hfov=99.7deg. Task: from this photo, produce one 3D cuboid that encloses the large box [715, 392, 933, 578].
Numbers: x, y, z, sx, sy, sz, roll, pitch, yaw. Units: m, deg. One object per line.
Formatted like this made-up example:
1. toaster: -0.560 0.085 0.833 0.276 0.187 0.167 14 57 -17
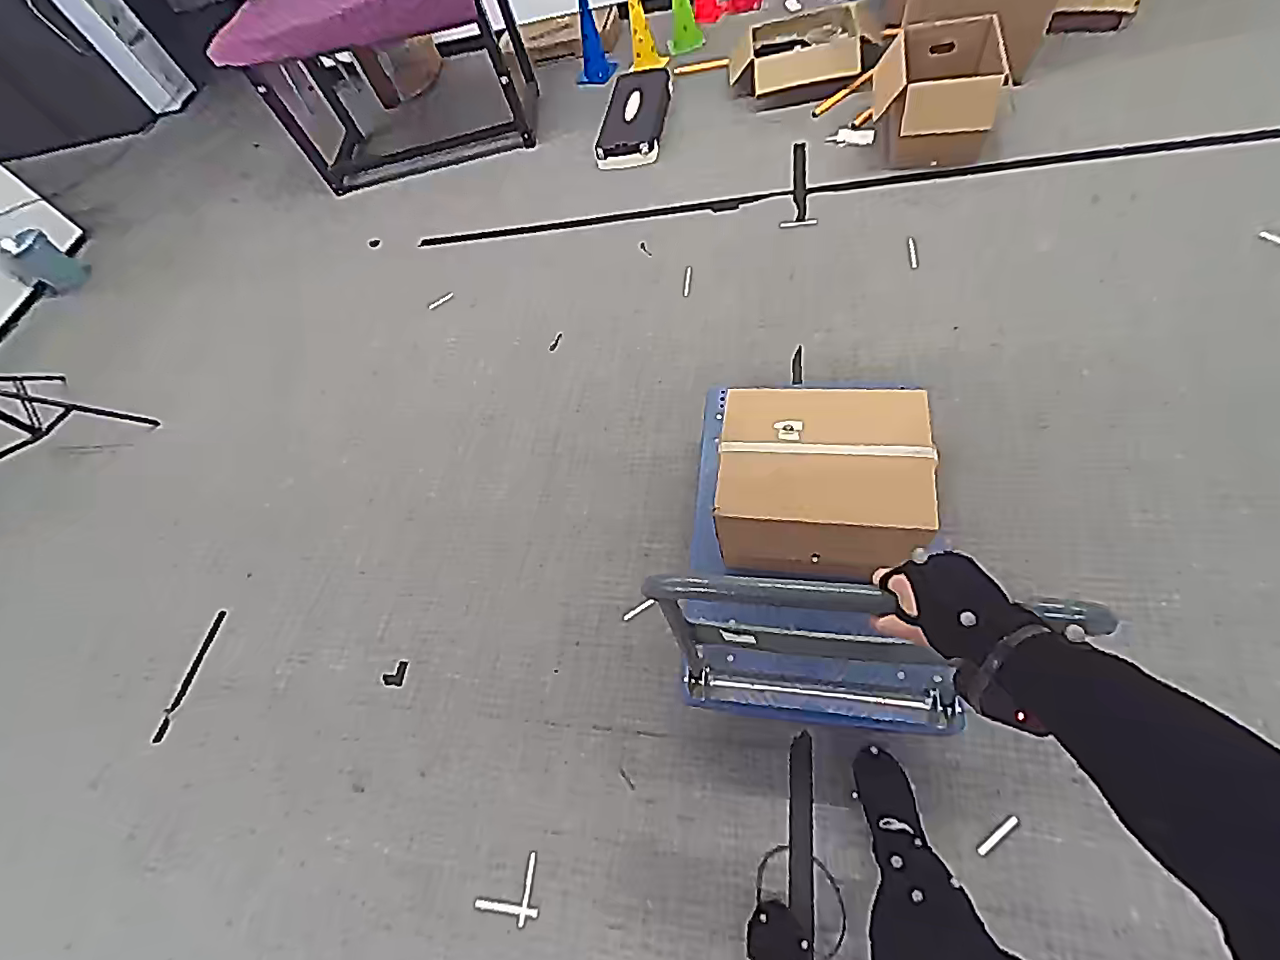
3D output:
1. large box: 0.397 0.019 1.224 0.408 0.320 0.320 2 61 16
